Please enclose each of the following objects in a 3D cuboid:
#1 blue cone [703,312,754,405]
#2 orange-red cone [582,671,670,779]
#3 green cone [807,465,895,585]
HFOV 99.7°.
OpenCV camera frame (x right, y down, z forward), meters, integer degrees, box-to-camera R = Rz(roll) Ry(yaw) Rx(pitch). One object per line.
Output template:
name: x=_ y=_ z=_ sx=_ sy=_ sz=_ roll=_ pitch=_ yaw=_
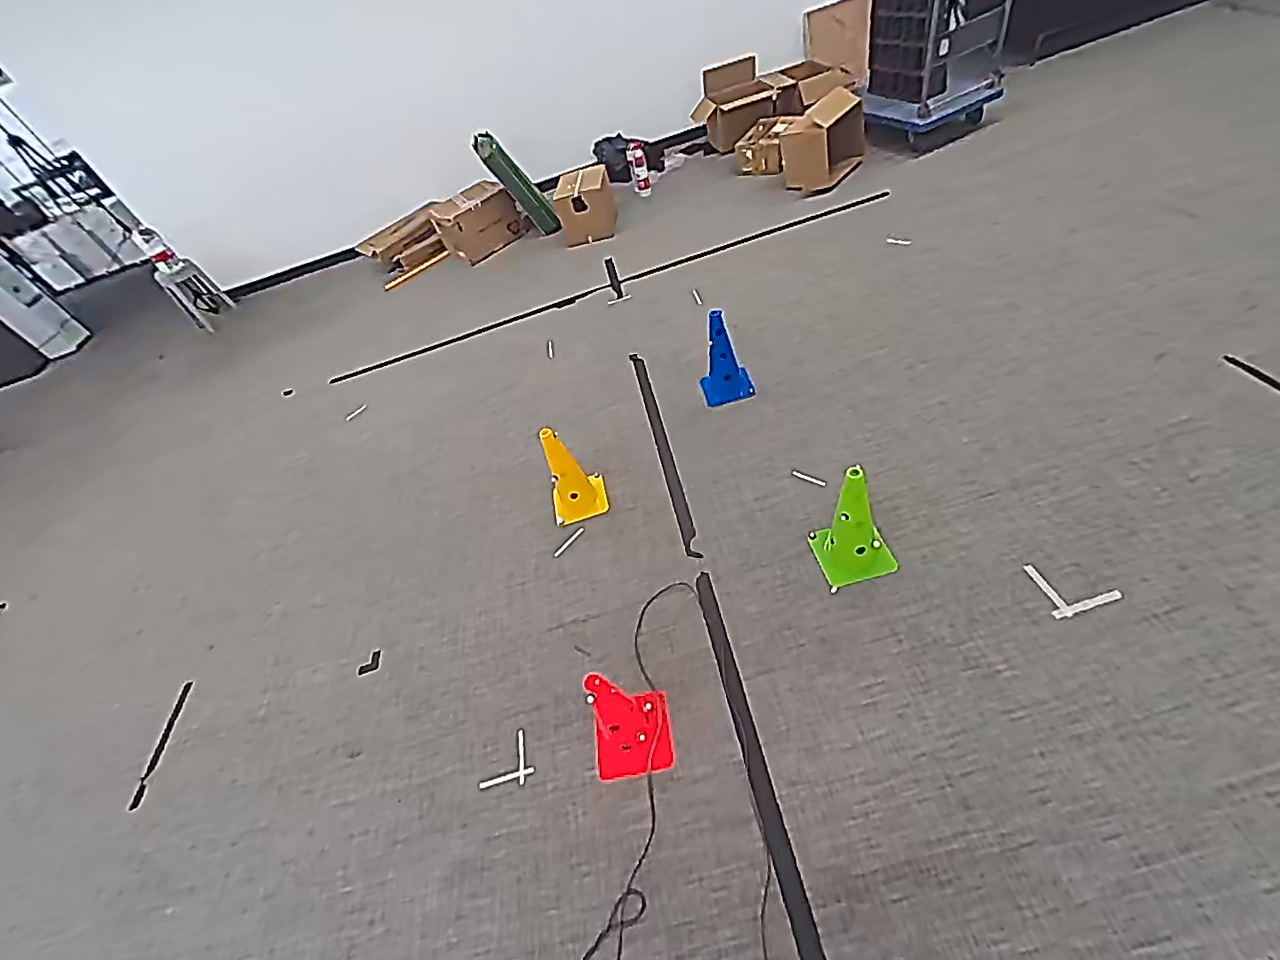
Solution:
blue cone: x=0.326 y=-0.493 z=2.141 sx=0.192 sy=0.380 sz=0.193 roll=-14 pitch=46 yaw=5
orange-red cone: x=-0.067 y=0.553 z=1.297 sx=0.199 sy=0.360 sz=0.198 roll=-15 pitch=44 yaw=7
green cone: x=0.583 y=0.100 z=1.486 sx=0.202 sy=0.368 sz=0.200 roll=-16 pitch=46 yaw=3
